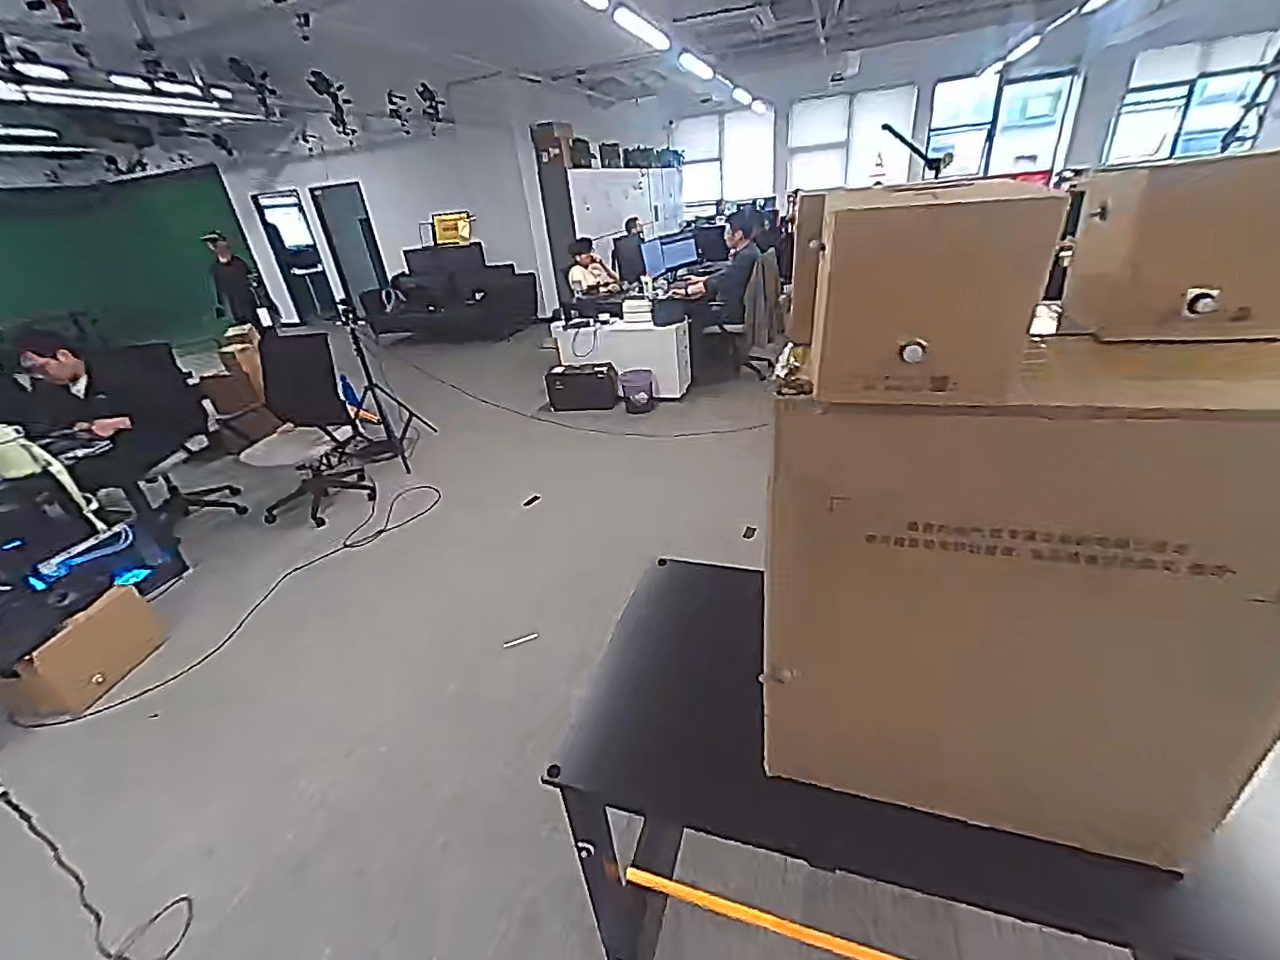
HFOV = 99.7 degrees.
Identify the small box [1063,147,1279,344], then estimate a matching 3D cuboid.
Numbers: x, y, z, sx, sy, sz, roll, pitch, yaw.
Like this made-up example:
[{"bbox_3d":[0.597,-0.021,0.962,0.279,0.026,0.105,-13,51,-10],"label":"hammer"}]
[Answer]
[{"bbox_3d":[0.585,-0.248,0.576,0.168,0.176,0.179,3,29,22],"label":"small box"}]
